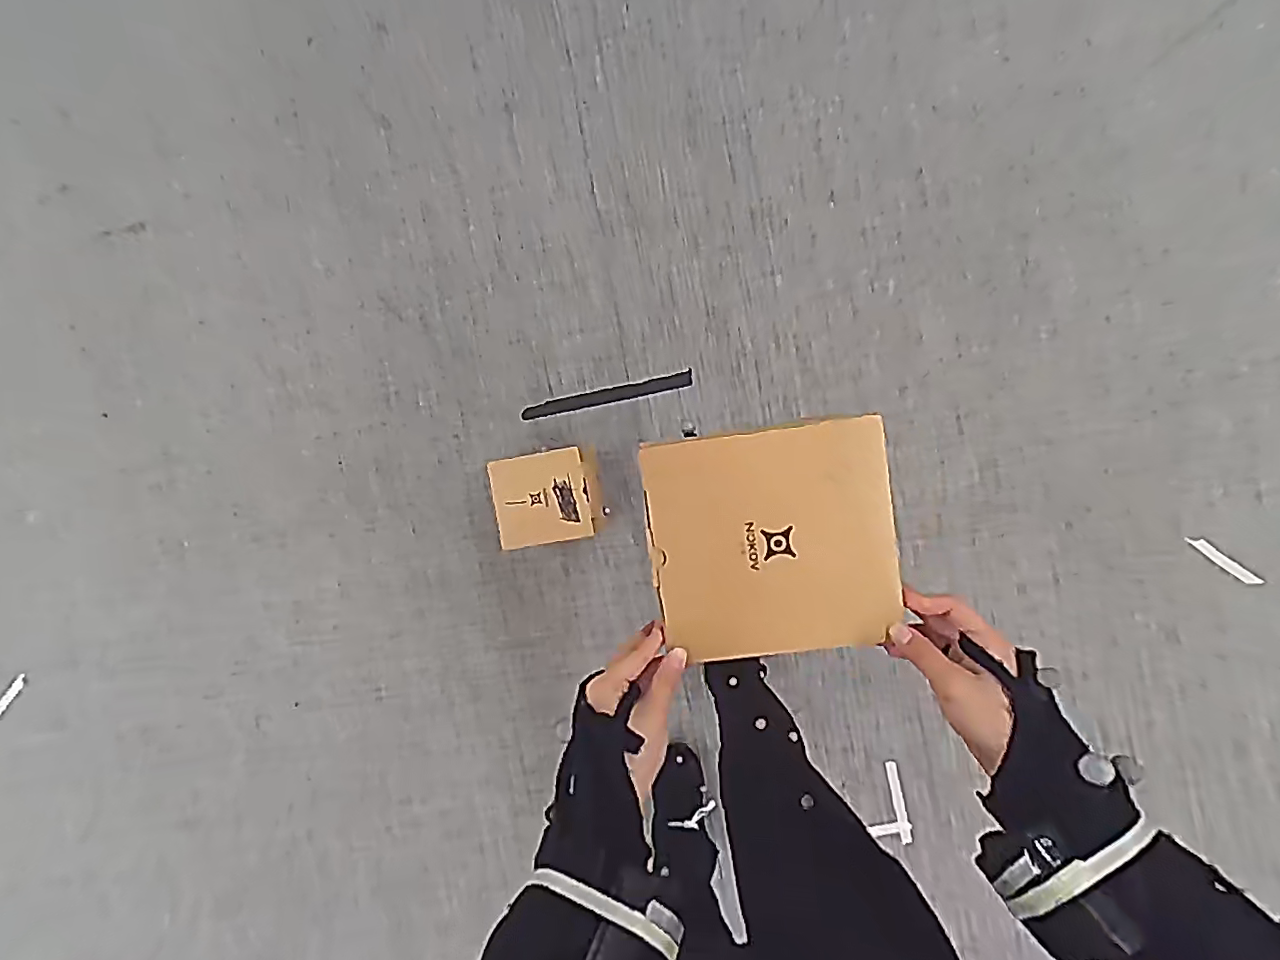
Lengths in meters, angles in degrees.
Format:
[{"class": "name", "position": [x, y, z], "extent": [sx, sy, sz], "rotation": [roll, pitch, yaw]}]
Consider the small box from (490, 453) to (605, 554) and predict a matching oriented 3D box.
[{"class": "small box", "position": [-0.170, 0.040, 1.061], "extent": [0.179, 0.176, 0.168], "rotation": [-10, 91, 5]}]

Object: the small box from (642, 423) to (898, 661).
[{"class": "small box", "position": [0.101, 0.040, 0.480], "extent": [0.179, 0.176, 0.168], "rotation": [-8, 94, 5]}]
